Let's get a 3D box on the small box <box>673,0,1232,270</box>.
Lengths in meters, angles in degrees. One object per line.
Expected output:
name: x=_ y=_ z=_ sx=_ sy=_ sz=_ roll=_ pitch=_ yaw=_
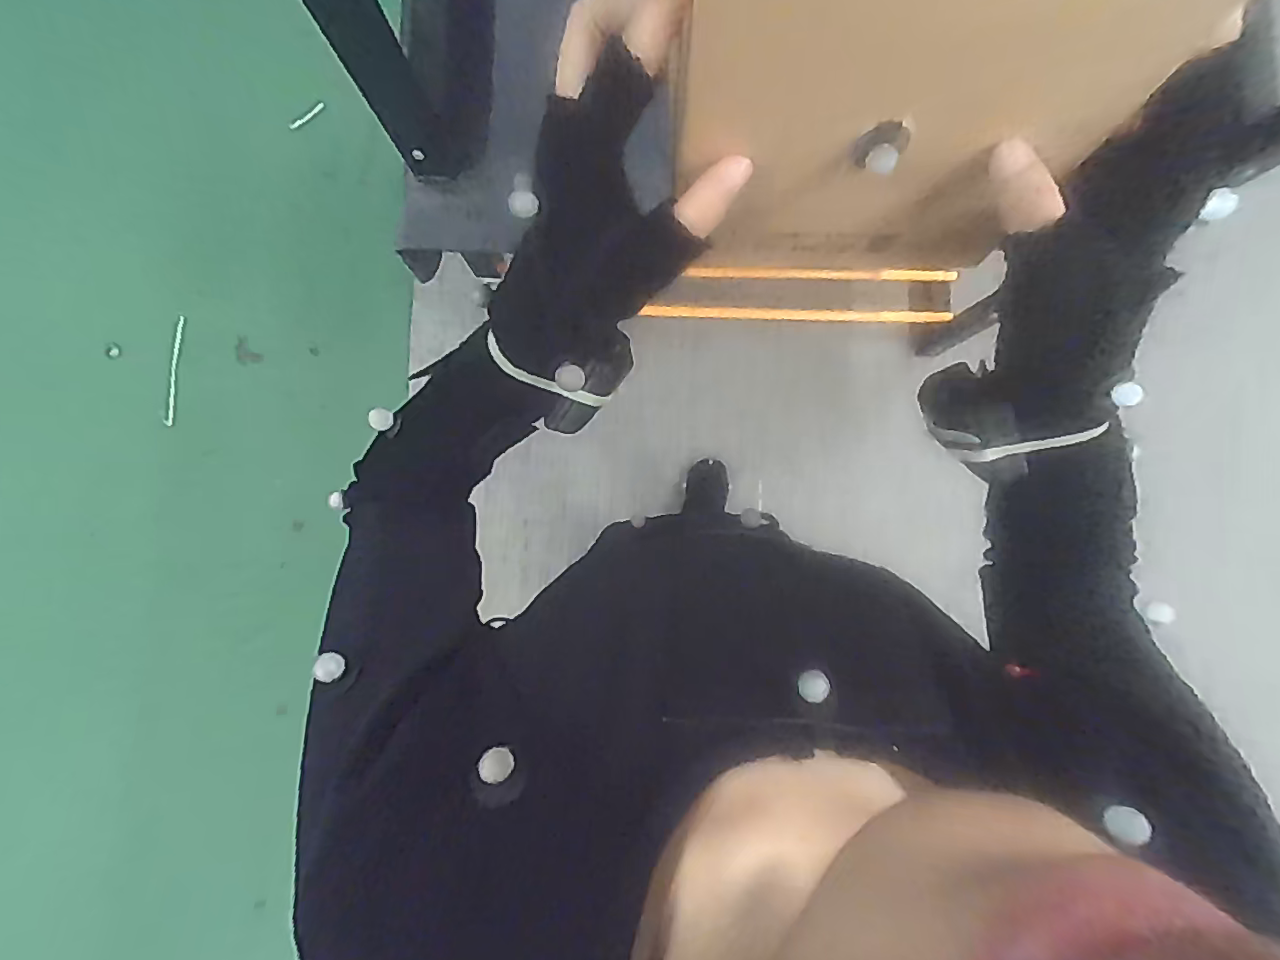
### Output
small box: x=0.104 y=-0.211 z=0.228 sx=0.168 sy=0.176 sz=0.179 roll=1 pitch=77 yaw=-2
